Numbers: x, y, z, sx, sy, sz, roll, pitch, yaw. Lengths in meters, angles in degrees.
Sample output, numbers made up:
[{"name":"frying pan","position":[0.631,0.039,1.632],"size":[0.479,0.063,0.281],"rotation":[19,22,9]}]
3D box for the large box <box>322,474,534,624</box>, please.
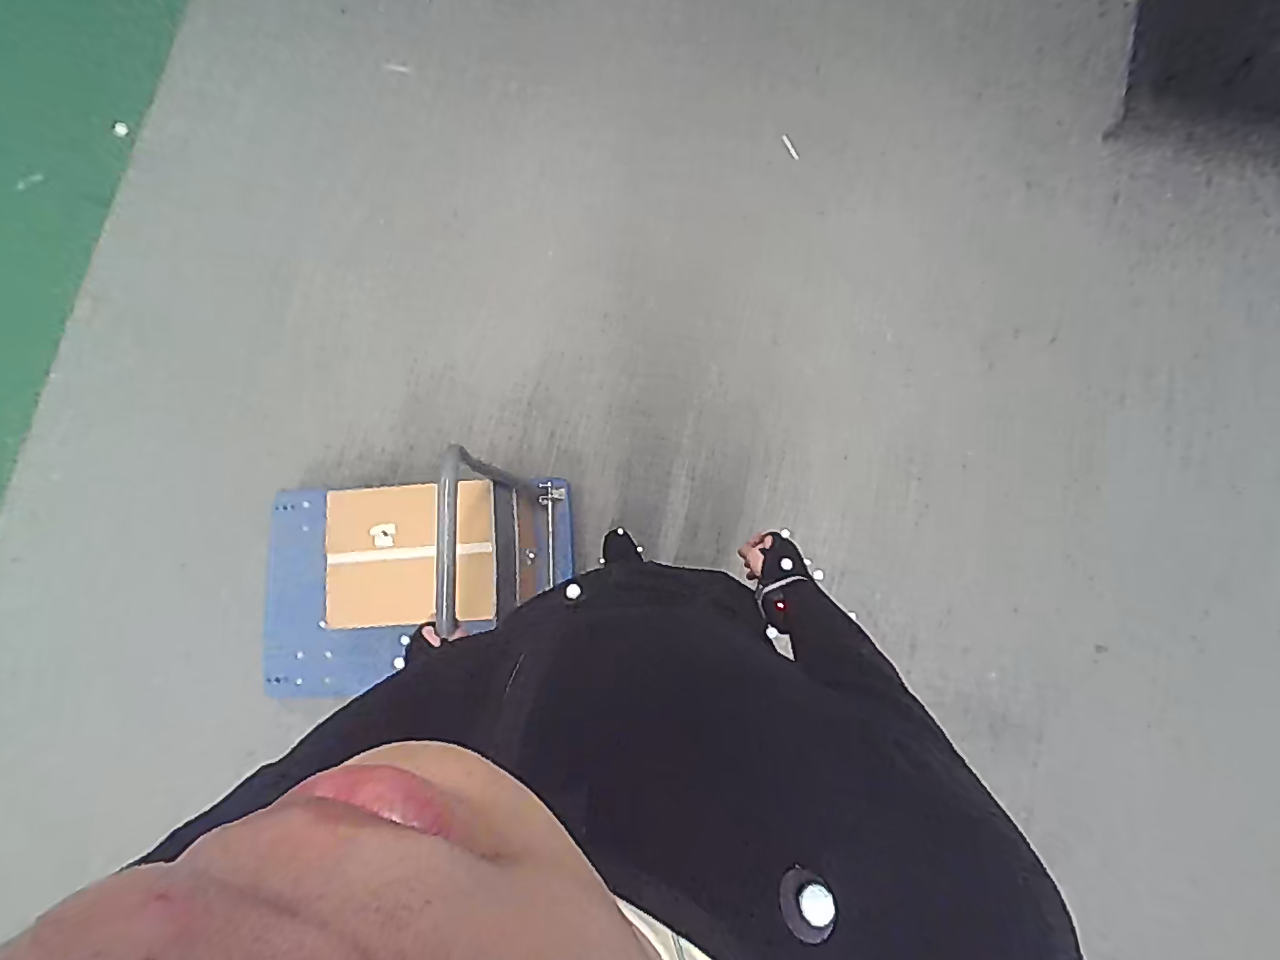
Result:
[{"name":"large box","position":[-0.505,0.171,1.354],"size":[0.408,0.320,0.320],"rotation":[-4,82,3]}]
